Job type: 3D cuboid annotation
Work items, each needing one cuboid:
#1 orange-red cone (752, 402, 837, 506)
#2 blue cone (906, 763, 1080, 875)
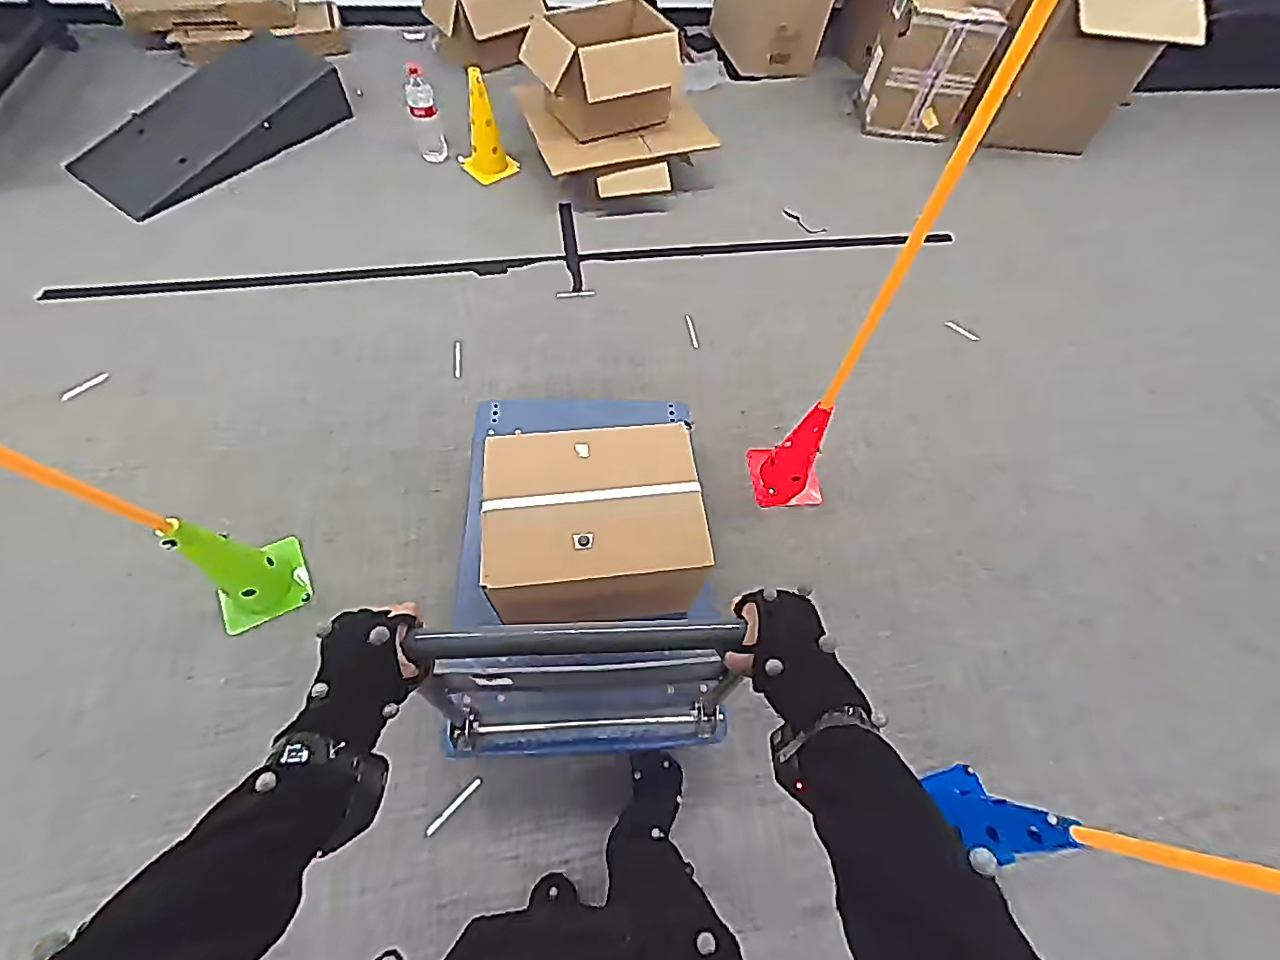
[{"bbox_3d":[0.454,-0.093,1.477,0.199,0.360,0.198,0,61,-6],"label":"orange-red cone"},{"bbox_3d":[0.727,0.679,1.078,0.193,0.380,0.192,-10,61,-10],"label":"blue cone"}]
